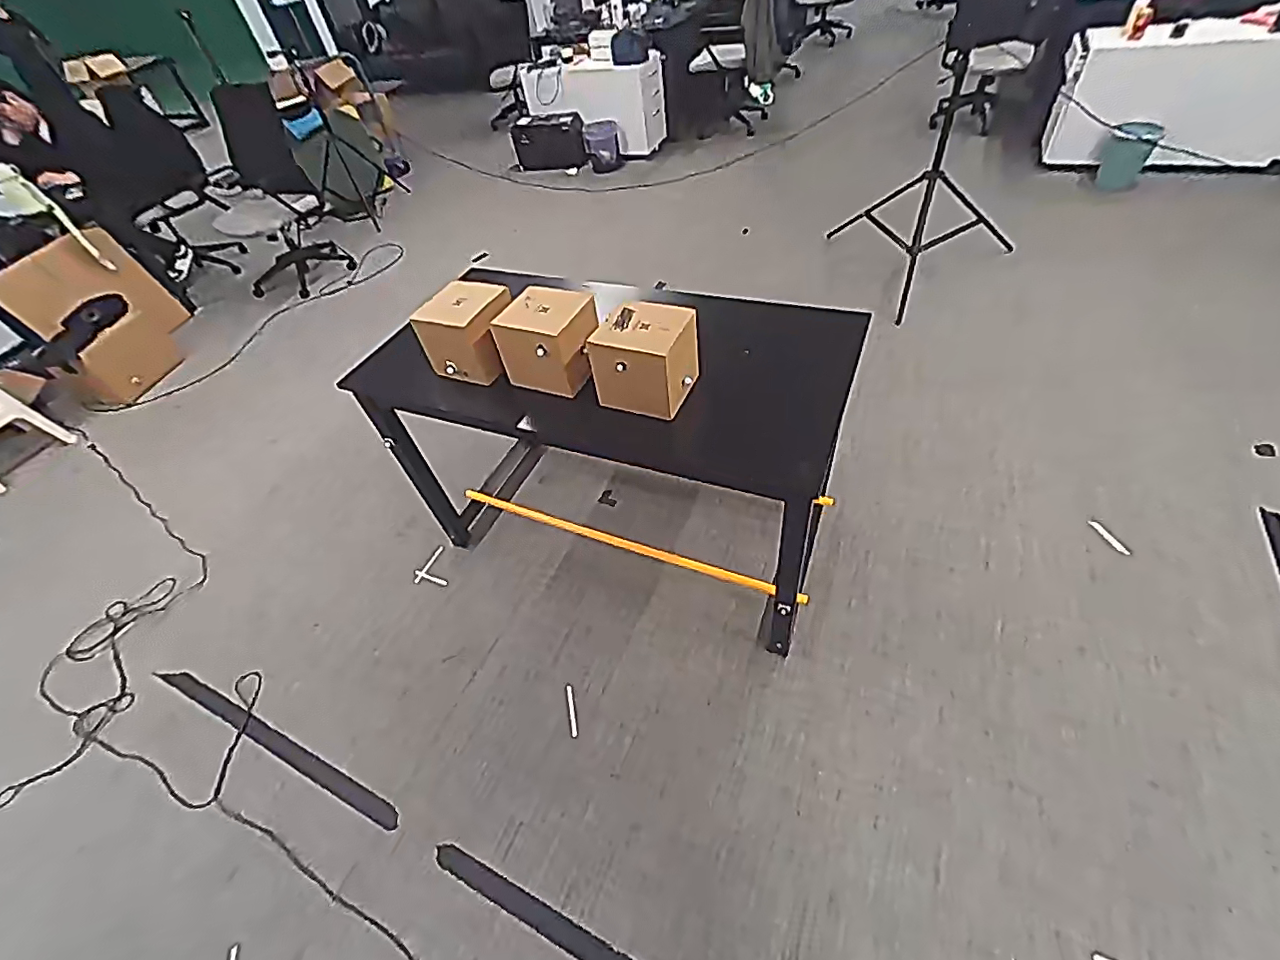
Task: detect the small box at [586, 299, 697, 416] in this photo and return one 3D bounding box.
[{"bbox_3d":[0.012,-0.258,1.144,0.179,0.176,0.168,15,53,21],"label":"small box"}]

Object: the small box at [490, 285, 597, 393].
[{"bbox_3d":[-0.204,-0.319,1.234,0.179,0.176,0.168,15,52,22],"label":"small box"}]

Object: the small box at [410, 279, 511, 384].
[{"bbox_3d":[-0.408,-0.359,1.305,0.168,0.176,0.179,13,53,22],"label":"small box"}]
